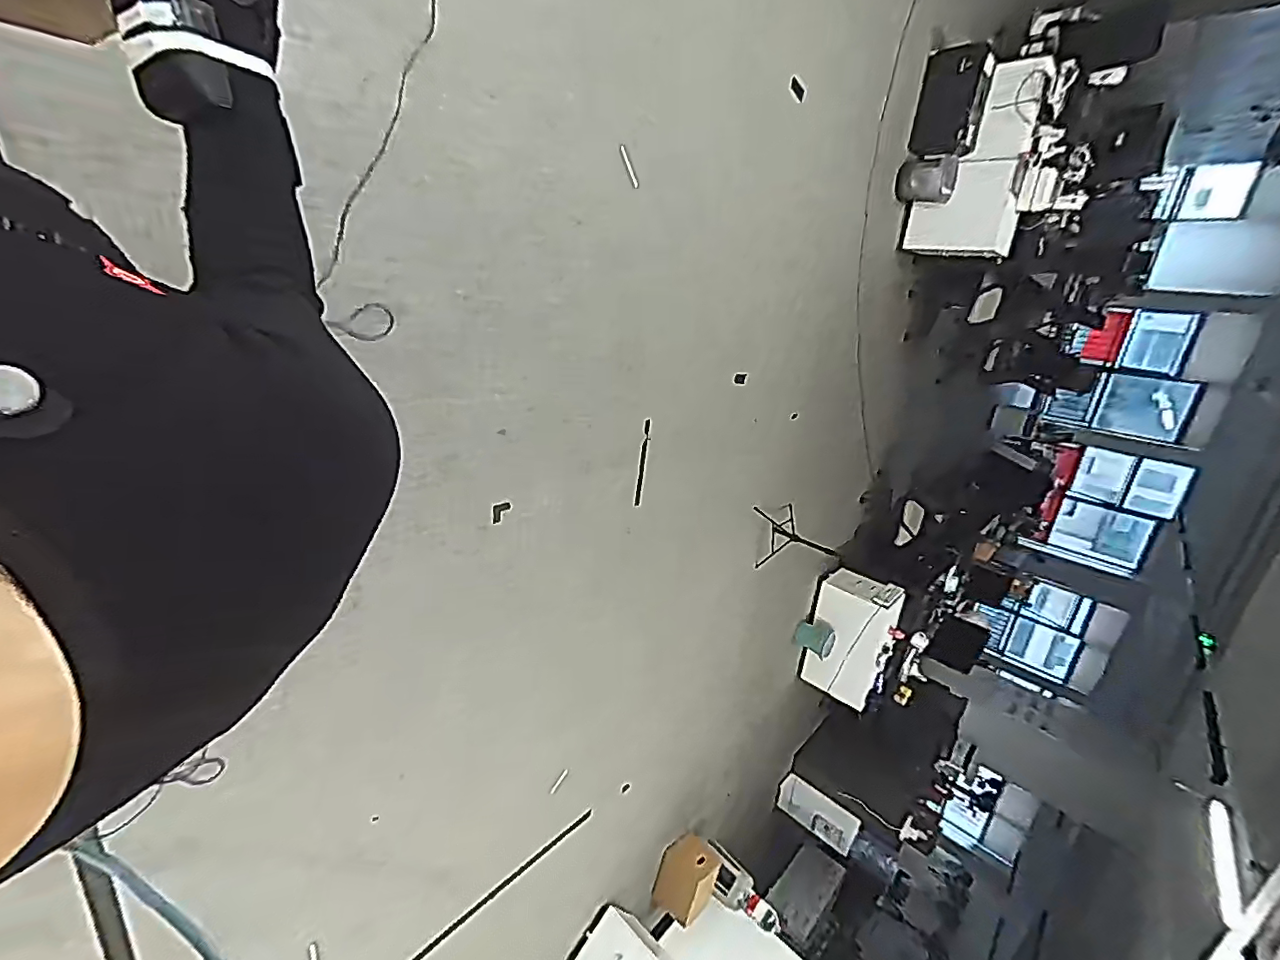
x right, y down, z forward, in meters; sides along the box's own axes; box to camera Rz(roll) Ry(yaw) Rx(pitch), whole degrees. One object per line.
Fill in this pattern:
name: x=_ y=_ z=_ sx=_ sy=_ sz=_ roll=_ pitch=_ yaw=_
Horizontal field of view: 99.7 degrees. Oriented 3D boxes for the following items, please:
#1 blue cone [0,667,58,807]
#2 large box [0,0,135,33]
blue cone: x=-1.206 y=0.516 z=0.986 sx=0.193 sy=0.380 sz=0.192 roll=18 pitch=94 yaw=-51
large box: x=-0.541 y=-0.479 z=0.248 sx=0.408 sy=0.320 sz=0.320 roll=-20 pitch=126 yaw=-48
